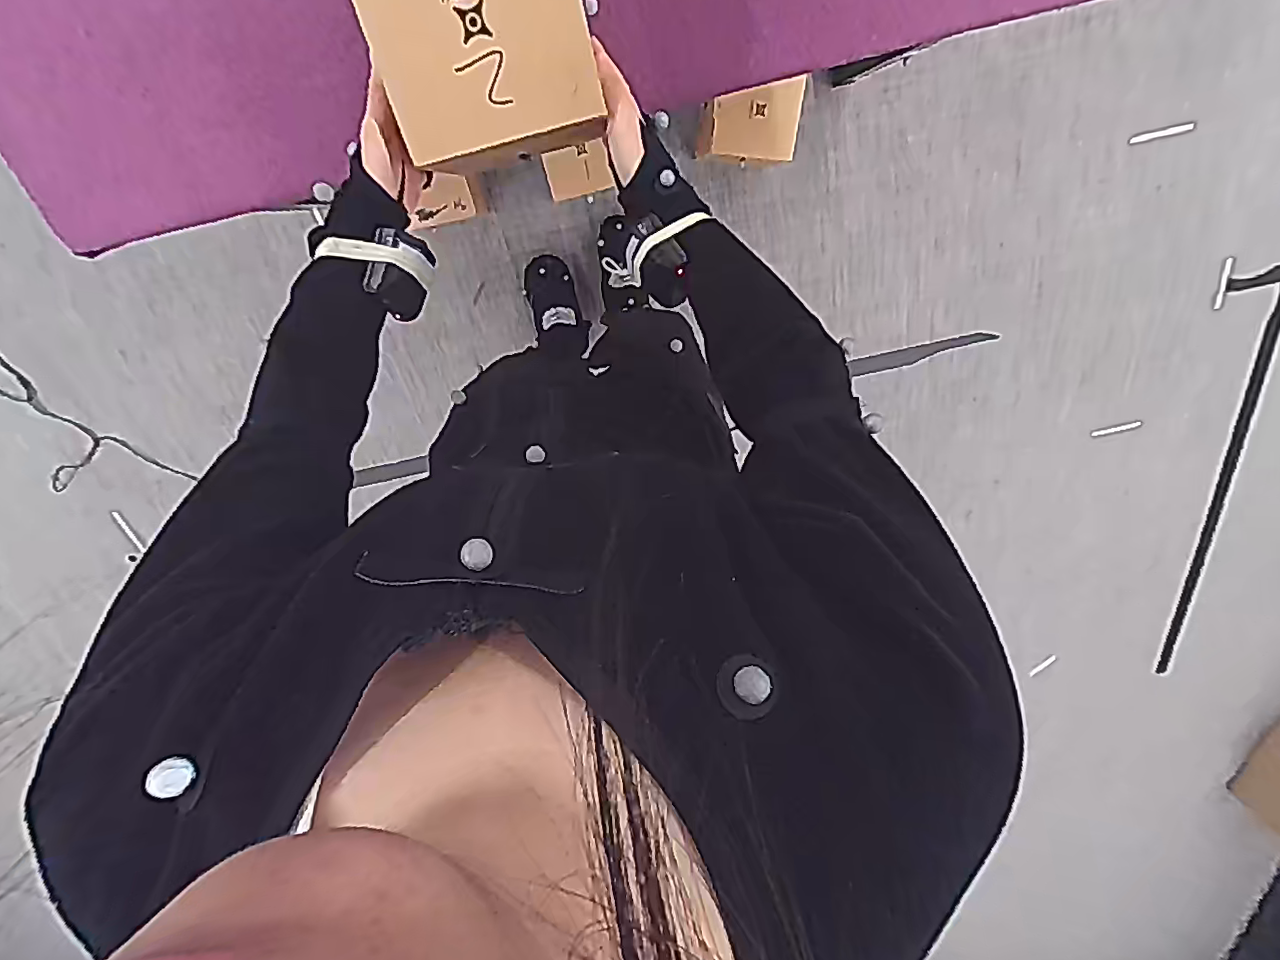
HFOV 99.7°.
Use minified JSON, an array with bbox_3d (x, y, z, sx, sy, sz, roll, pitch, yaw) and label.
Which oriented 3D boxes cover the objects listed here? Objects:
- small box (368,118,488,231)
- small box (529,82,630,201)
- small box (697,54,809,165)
[{"bbox_3d":[-0.434,-0.631,1.136,0.168,0.176,0.179,-12,116,0],"label":"small box"},{"bbox_3d":[-0.124,-0.697,1.133,0.168,0.176,0.179,-14,118,1],"label":"small box"},{"bbox_3d":[0.228,-0.767,1.136,0.179,0.176,0.168,3,118,-5],"label":"small box"}]
